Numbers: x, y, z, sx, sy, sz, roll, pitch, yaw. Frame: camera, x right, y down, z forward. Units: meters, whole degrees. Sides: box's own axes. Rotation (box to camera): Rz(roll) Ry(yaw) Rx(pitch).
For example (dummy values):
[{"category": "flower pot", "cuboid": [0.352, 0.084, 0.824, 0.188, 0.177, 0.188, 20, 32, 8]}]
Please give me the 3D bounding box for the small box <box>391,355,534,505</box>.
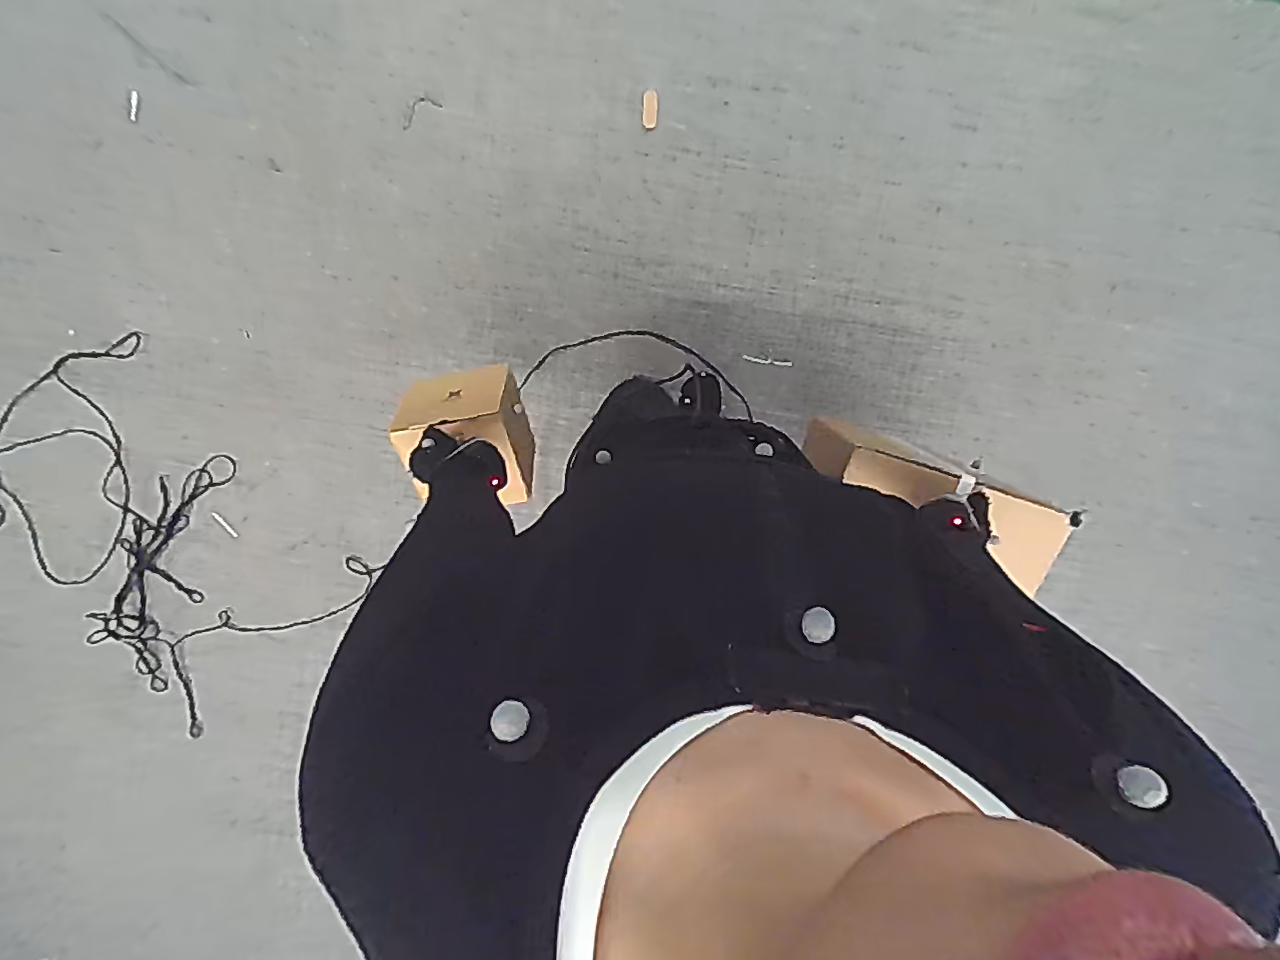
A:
[{"category": "small box", "cuboid": [-0.277, -0.083, 0.894, 0.168, 0.179, 0.176, -10, 129, 1]}]
